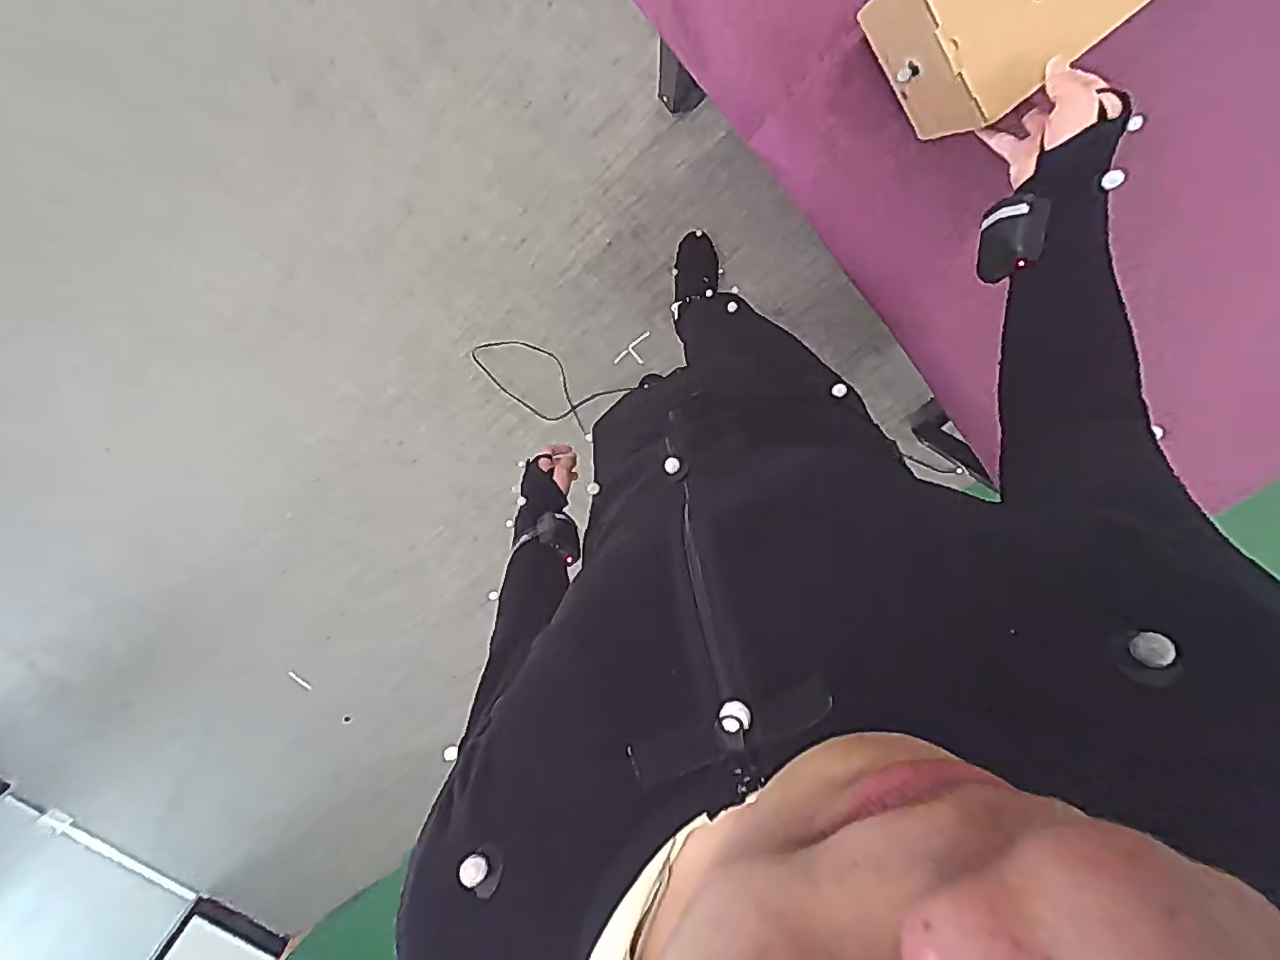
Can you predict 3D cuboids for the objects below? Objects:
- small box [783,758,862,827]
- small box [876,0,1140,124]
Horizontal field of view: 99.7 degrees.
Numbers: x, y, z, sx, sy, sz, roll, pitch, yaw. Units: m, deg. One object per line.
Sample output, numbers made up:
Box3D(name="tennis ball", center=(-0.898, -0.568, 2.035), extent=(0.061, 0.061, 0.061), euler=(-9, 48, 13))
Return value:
Box3D(name="small box", center=(0.607, 1.074, 1.821), extent=(0.168, 0.176, 0.179), euler=(-39, 105, 17))
Box3D(name="small box", center=(0.362, -0.496, 0.543), extent=(0.179, 0.176, 0.168), euler=(-35, 111, 22))
